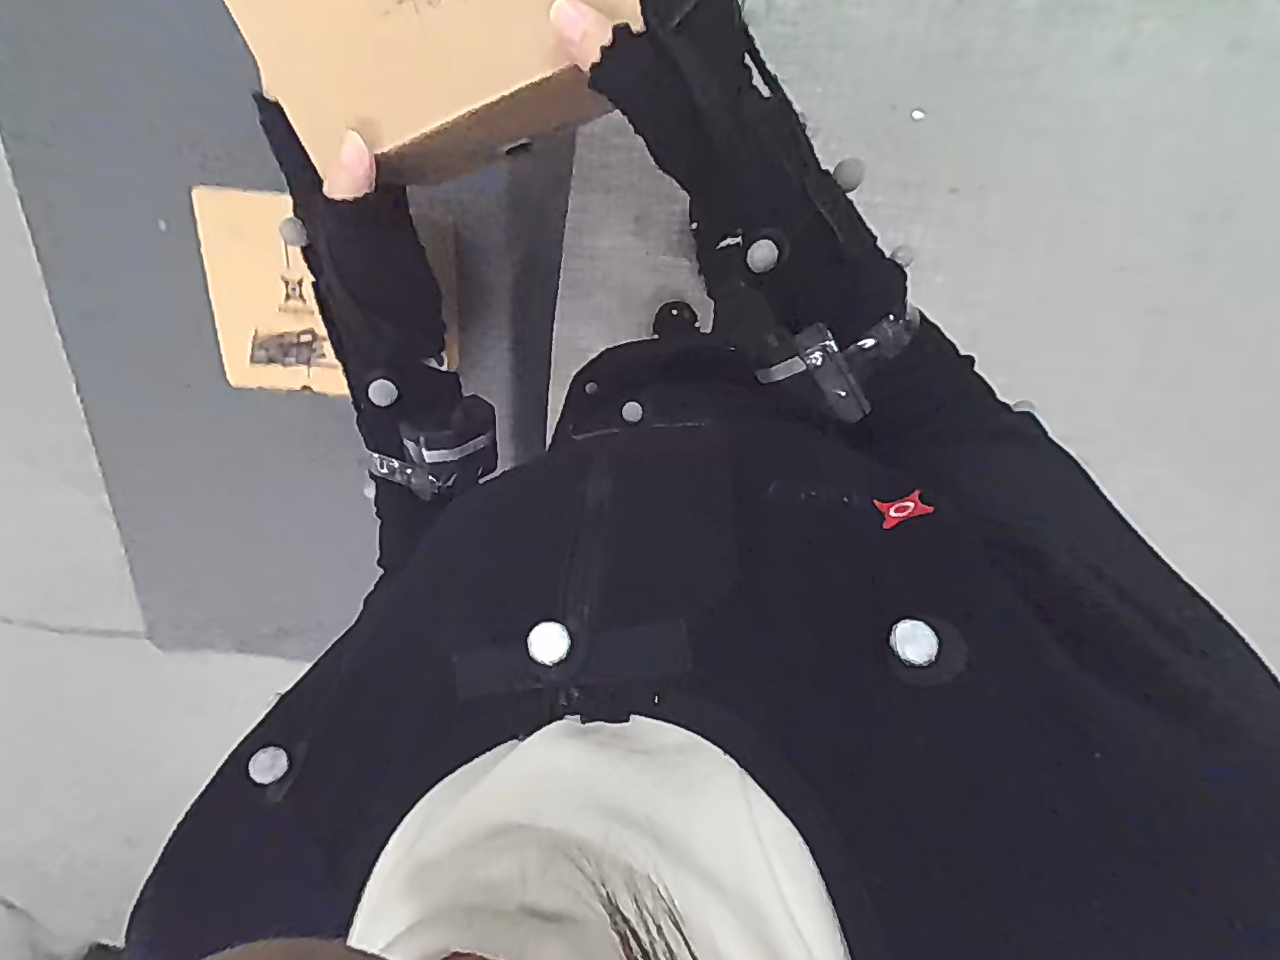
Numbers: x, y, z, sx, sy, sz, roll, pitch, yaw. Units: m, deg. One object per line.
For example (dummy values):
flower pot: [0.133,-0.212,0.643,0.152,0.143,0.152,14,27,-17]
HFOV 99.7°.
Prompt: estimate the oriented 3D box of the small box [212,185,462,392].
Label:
small box: [-0.304,-0.205,0.587,0.168,0.176,0.179,6,111,4]

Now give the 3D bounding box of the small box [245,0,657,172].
small box: [-0.094,-0.280,0.277,0.168,0.176,0.179,-16,117,10]
